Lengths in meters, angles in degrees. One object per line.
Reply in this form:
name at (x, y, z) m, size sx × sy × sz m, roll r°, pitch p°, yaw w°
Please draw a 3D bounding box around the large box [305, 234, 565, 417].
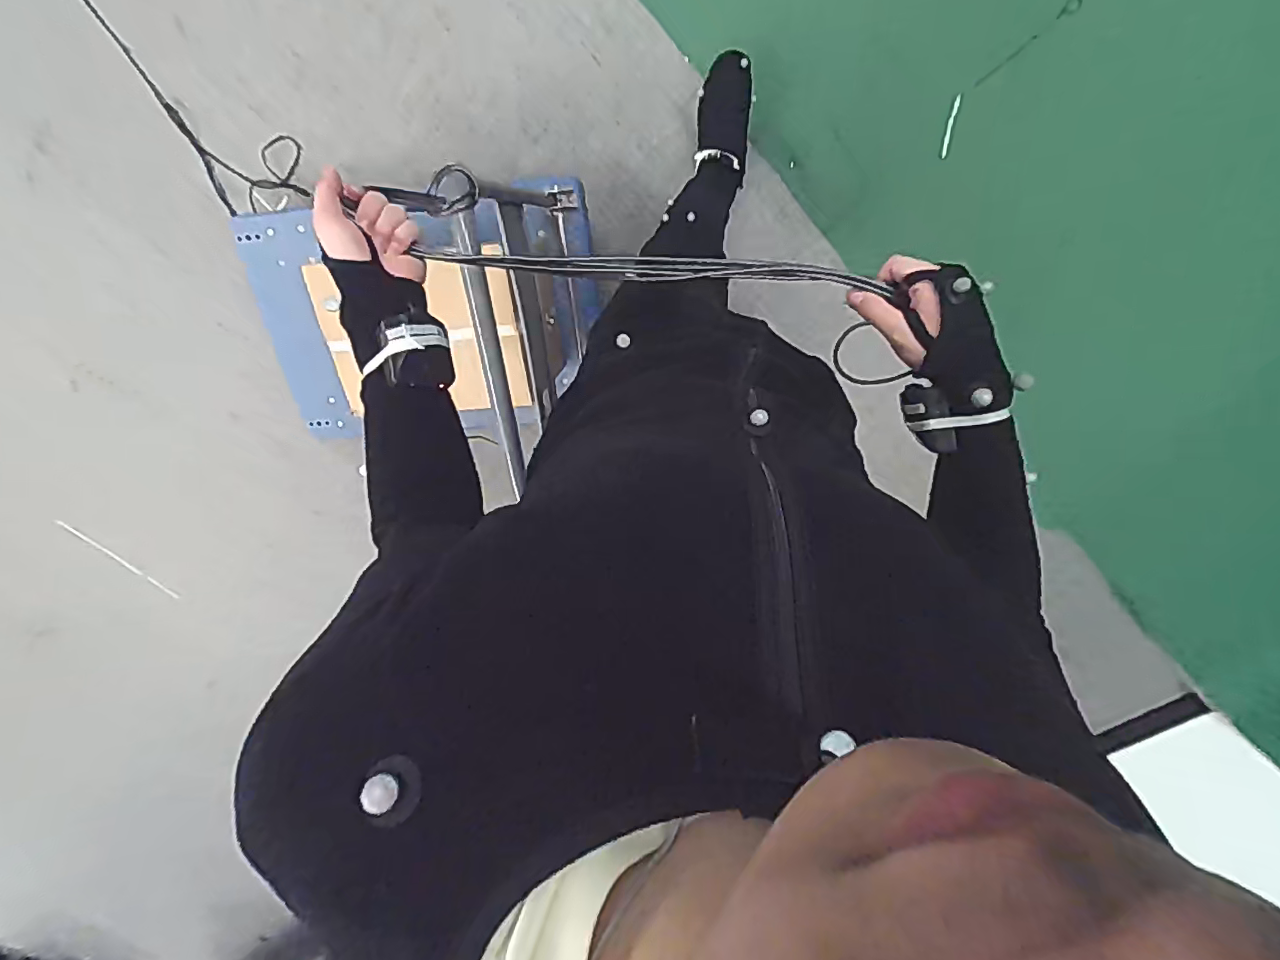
large box at (-0.415, -0.351, 1.200) m, size 0.408 × 0.320 × 0.320 m, roll -3°, pitch 115°, yaw 8°
